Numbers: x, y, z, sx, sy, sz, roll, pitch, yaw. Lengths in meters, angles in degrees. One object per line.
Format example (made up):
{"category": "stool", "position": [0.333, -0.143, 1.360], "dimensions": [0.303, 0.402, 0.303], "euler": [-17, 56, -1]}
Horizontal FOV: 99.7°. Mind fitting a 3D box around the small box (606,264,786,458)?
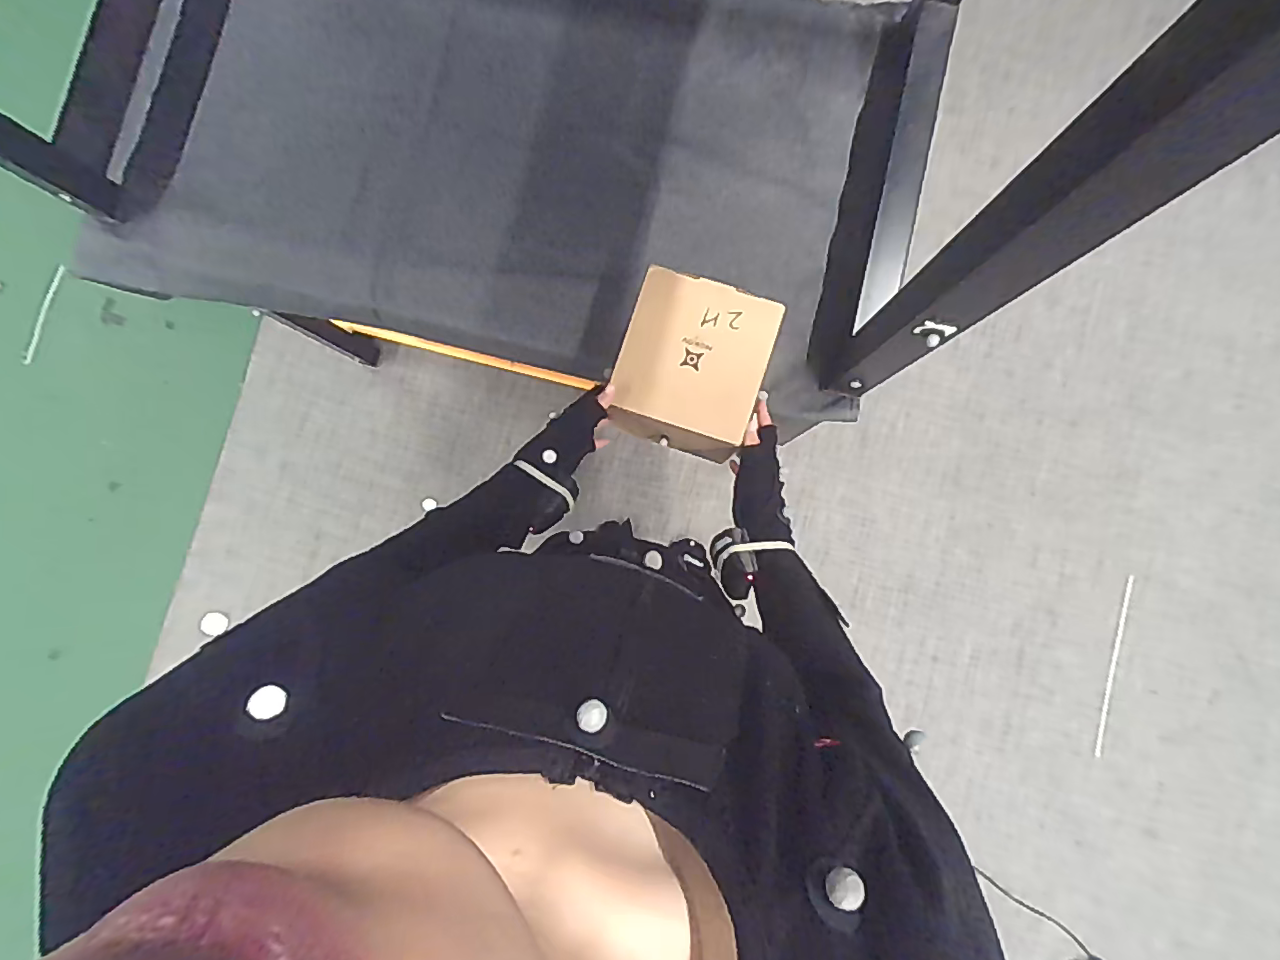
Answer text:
{"category": "small box", "position": [0.068, -0.138, 0.697], "dimensions": [0.168, 0.176, 0.179], "euler": [18, 85, 3]}
